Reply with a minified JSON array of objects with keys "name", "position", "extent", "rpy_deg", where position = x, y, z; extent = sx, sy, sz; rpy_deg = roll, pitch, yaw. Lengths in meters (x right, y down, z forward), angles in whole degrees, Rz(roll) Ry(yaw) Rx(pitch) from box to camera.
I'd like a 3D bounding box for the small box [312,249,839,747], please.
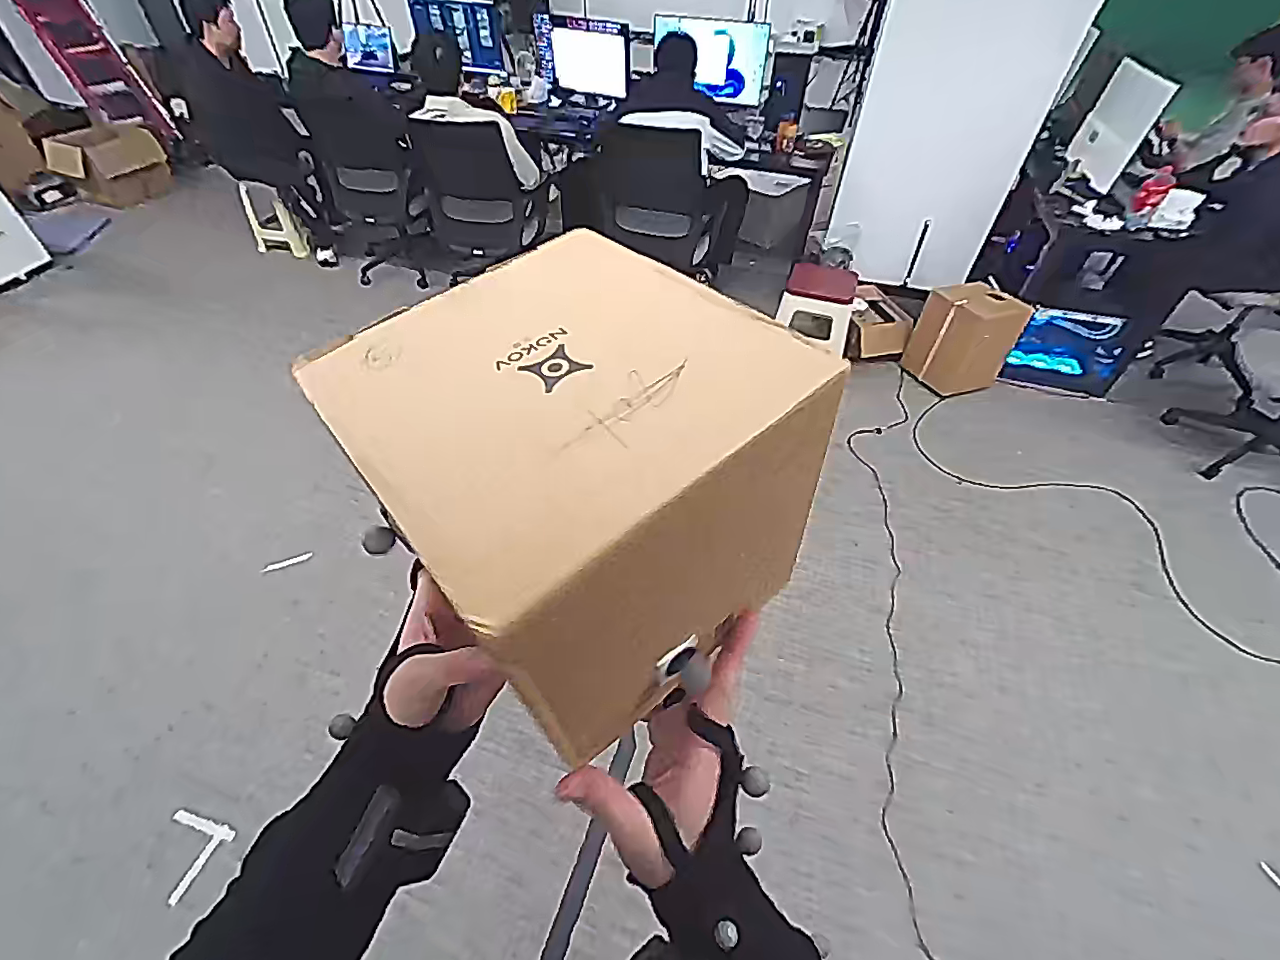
[{"name":"small box","position":[-0.028,0.010,0.296],"extent":[0.168,0.176,0.179],"rpy_deg":[-39,58,-22]}]
